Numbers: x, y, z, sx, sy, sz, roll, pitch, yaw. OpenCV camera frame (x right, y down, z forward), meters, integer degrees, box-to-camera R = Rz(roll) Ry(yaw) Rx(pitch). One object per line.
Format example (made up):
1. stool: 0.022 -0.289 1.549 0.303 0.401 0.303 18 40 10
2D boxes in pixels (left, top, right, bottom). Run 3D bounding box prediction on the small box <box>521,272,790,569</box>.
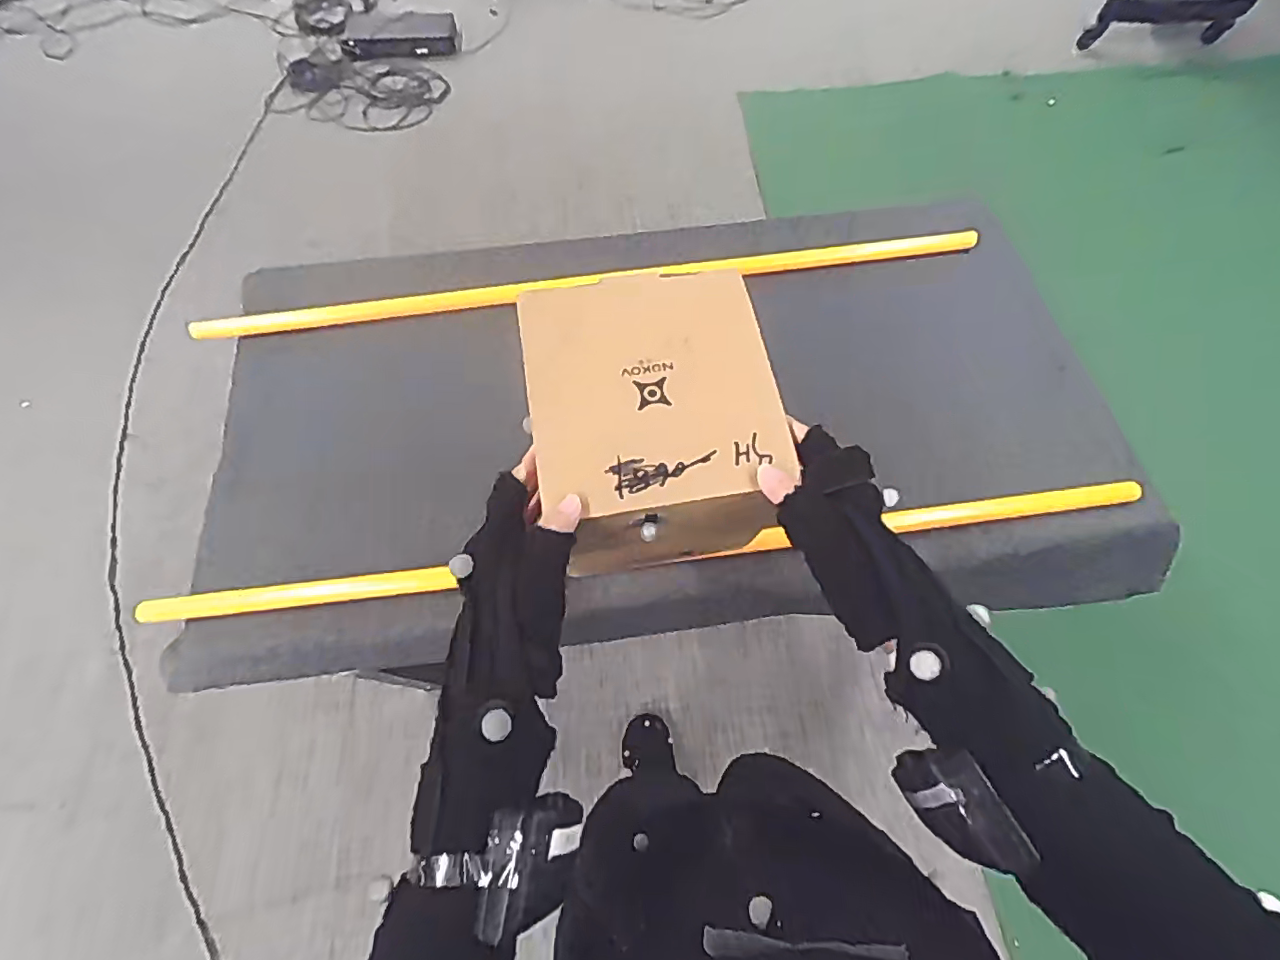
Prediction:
1. small box: 0.001 -0.039 0.448 0.168 0.176 0.179 -9 69 -5
